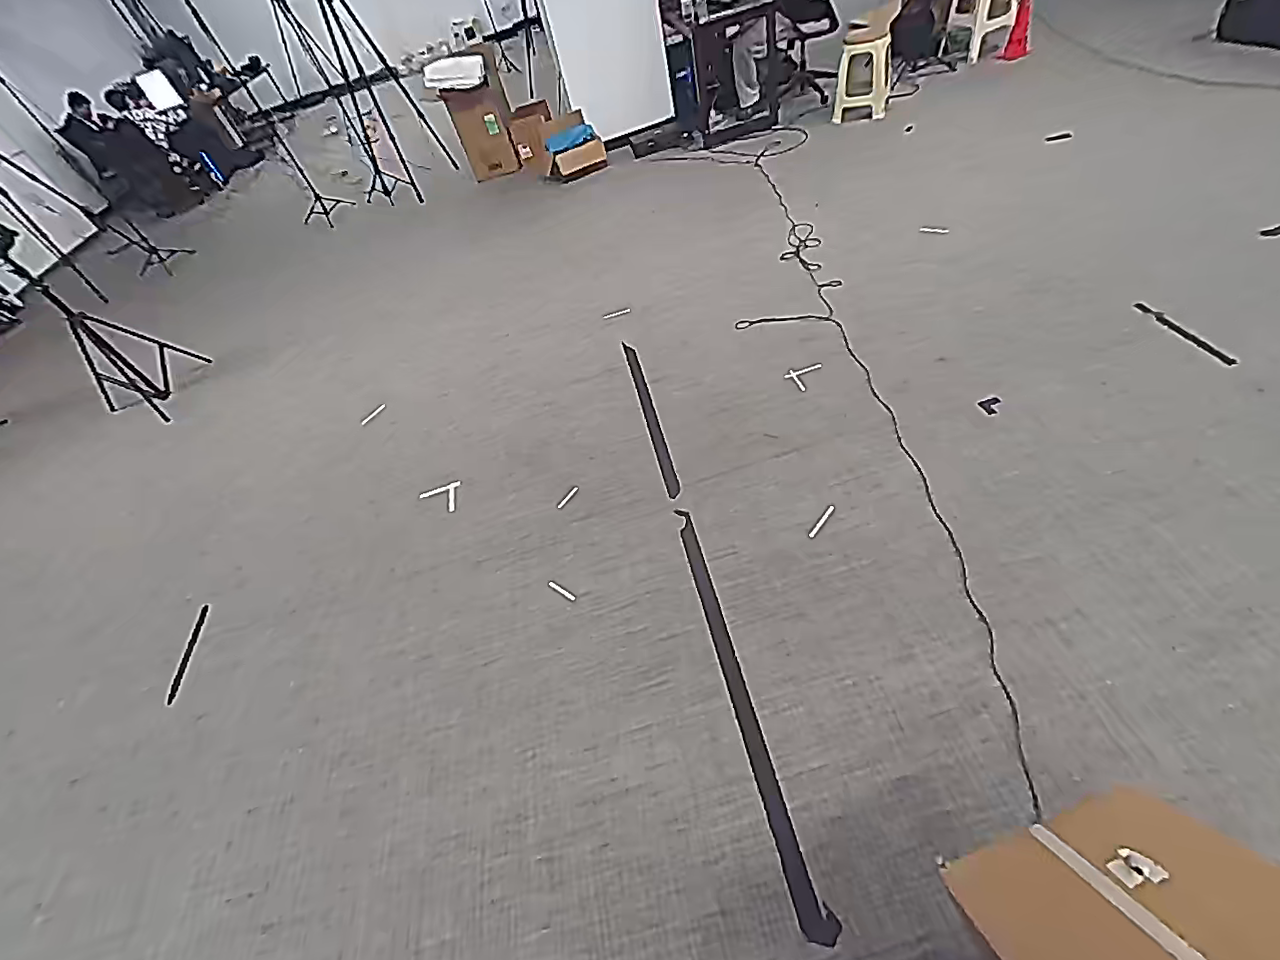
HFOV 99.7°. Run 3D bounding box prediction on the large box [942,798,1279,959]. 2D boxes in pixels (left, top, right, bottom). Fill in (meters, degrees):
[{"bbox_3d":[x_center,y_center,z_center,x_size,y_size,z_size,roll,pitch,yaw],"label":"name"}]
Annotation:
[{"bbox_3d":[0.633,0.642,0.583,0.320,0.408,0.320,-24,82,1],"label":"large box"}]
